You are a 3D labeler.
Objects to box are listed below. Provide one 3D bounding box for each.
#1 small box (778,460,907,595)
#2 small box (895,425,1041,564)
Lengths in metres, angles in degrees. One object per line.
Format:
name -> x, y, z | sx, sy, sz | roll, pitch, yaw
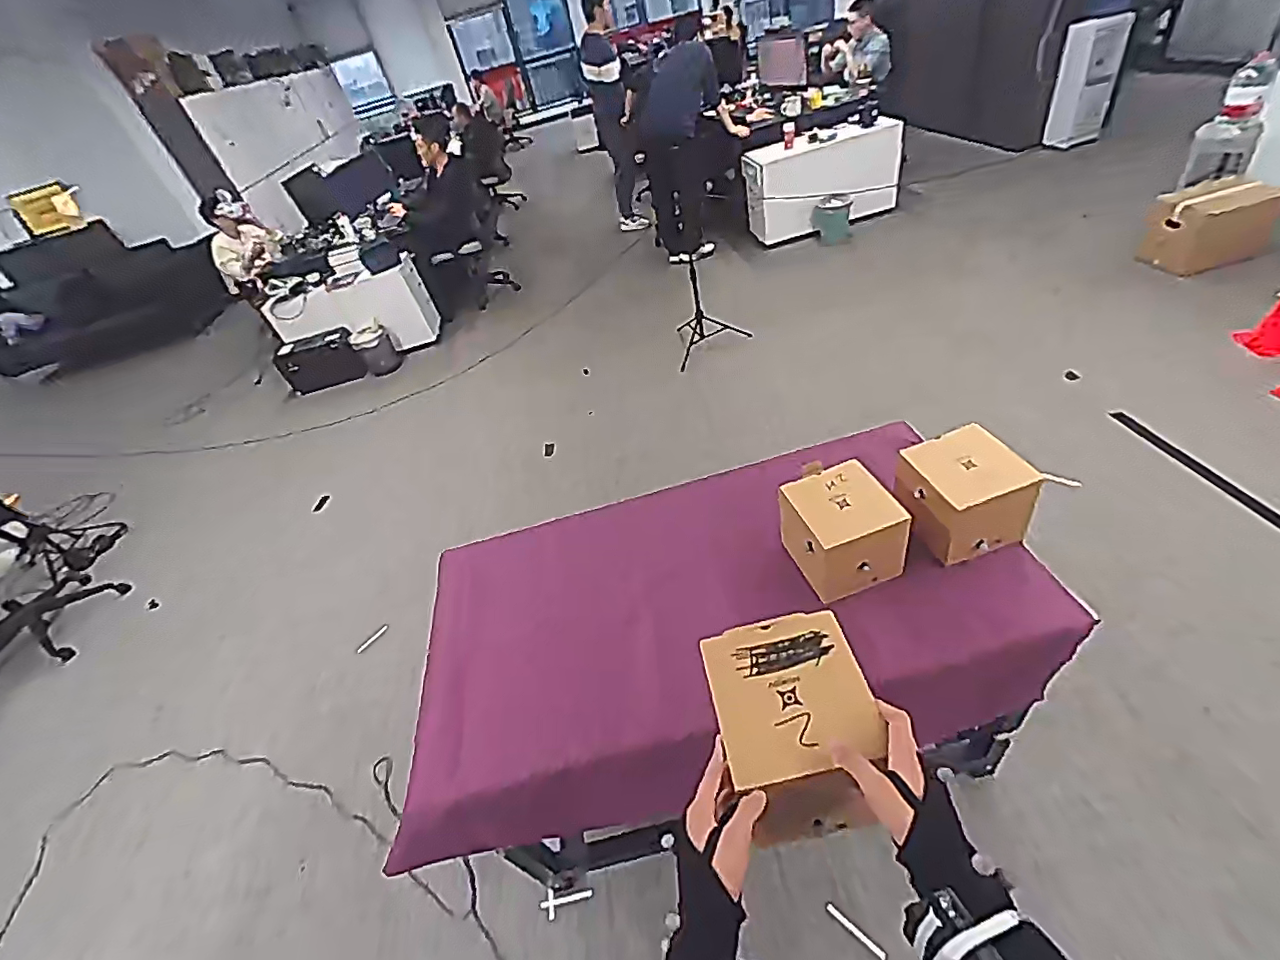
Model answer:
small box -> 0.383, 0.098, 1.041 | 0.168, 0.176, 0.179 | -20, 41, -4
small box -> 0.612, 0.028, 1.039 | 0.168, 0.176, 0.179 | -20, 41, -1
